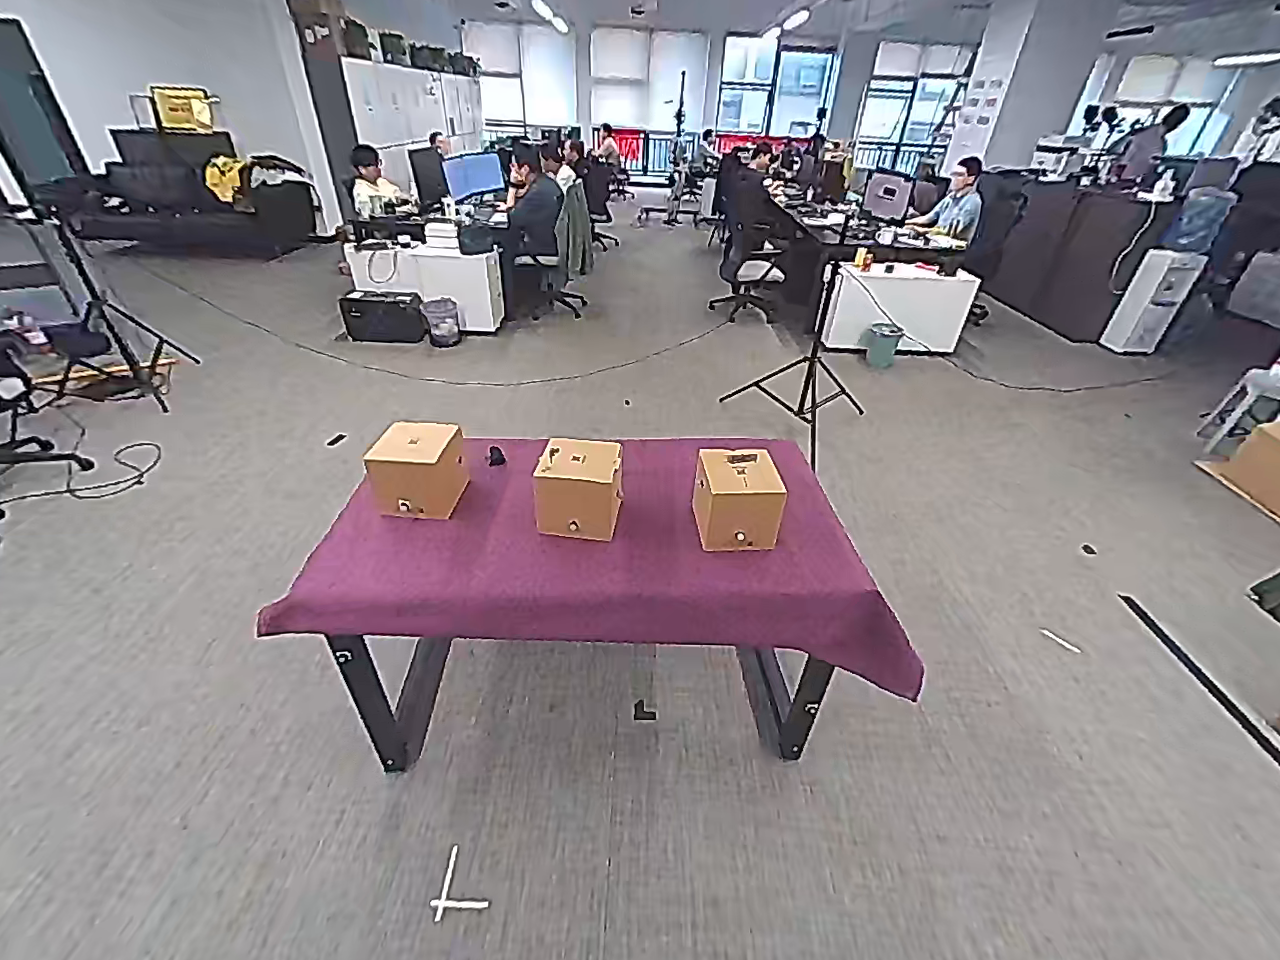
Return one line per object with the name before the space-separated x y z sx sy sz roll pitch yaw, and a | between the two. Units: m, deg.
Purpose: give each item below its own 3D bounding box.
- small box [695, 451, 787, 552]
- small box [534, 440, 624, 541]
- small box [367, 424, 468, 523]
small box | 0.225 0.048 1.260 0.168 0.176 0.179 -1 35 -4
small box | -0.138 0.025 1.271 0.179 0.176 0.168 6 34 4
small box | -0.526 -0.018 1.308 0.168 0.176 0.179 2 35 1
